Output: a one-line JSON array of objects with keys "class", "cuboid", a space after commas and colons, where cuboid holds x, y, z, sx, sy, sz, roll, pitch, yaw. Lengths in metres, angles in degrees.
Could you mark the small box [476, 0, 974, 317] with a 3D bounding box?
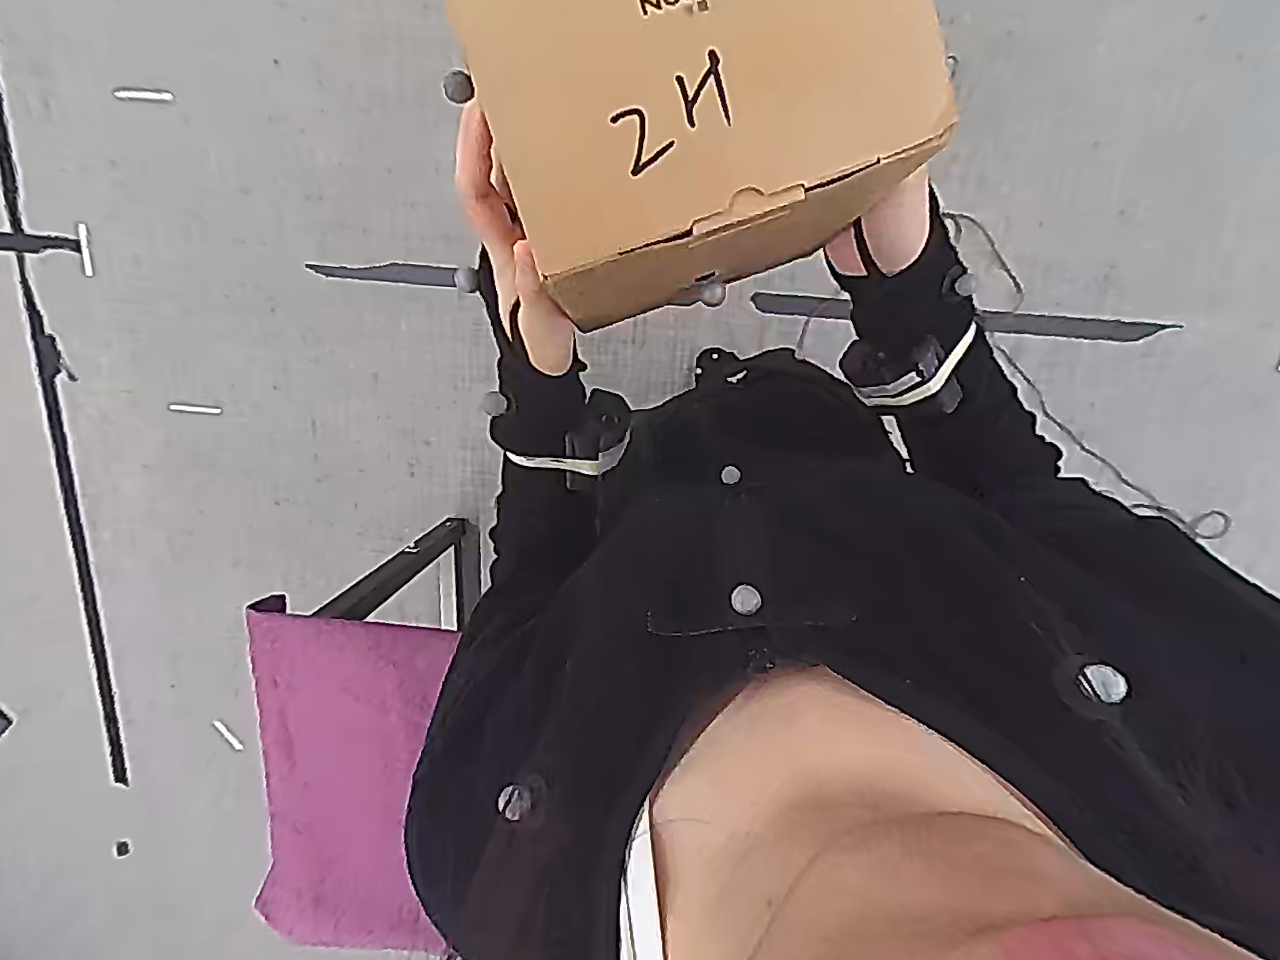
[{"class": "small box", "cuboid": [0.018, -0.199, 0.268, 0.168, 0.176, 0.179, -18, 99, 1]}]
